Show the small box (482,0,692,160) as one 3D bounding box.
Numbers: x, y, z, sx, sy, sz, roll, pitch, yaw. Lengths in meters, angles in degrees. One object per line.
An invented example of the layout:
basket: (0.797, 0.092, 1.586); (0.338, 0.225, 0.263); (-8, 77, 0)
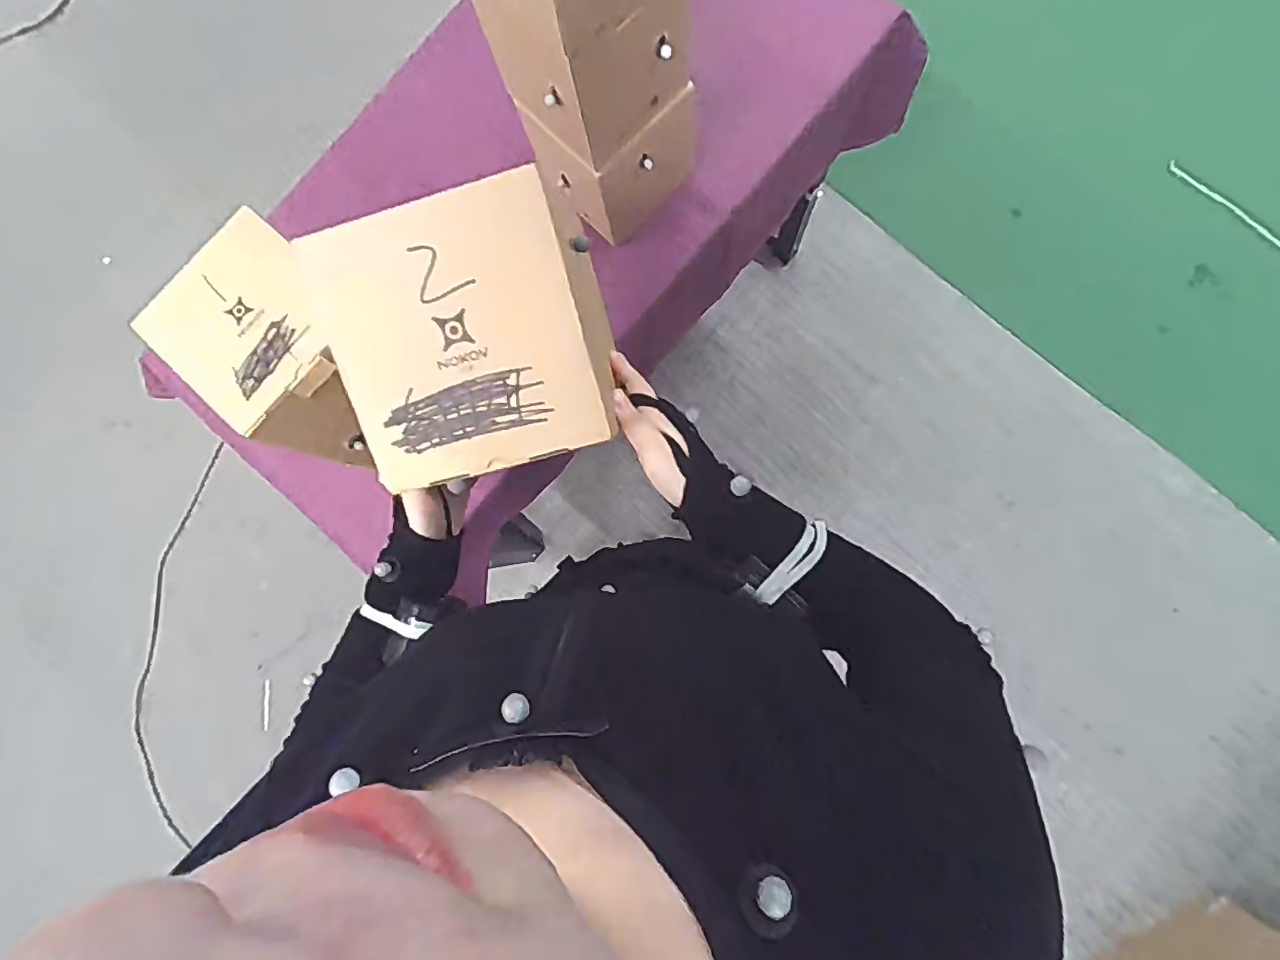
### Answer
small box: (-0.052, -0.510, 0.617); (0.168, 0.176, 0.179); (-43, 81, -1)

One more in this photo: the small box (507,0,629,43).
small box: (-0.070, -0.528, 0.455); (0.168, 0.176, 0.179); (-44, 82, -2)

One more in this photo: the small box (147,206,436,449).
small box: (-0.368, -0.151, 0.606); (0.179, 0.176, 0.168); (42, 88, 10)

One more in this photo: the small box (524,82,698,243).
small box: (-0.030, -0.485, 0.777); (0.179, 0.176, 0.168); (-42, 82, -1)

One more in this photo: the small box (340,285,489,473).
small box: (-0.349, -0.129, 0.768); (0.168, 0.176, 0.179); (43, 88, 9)
